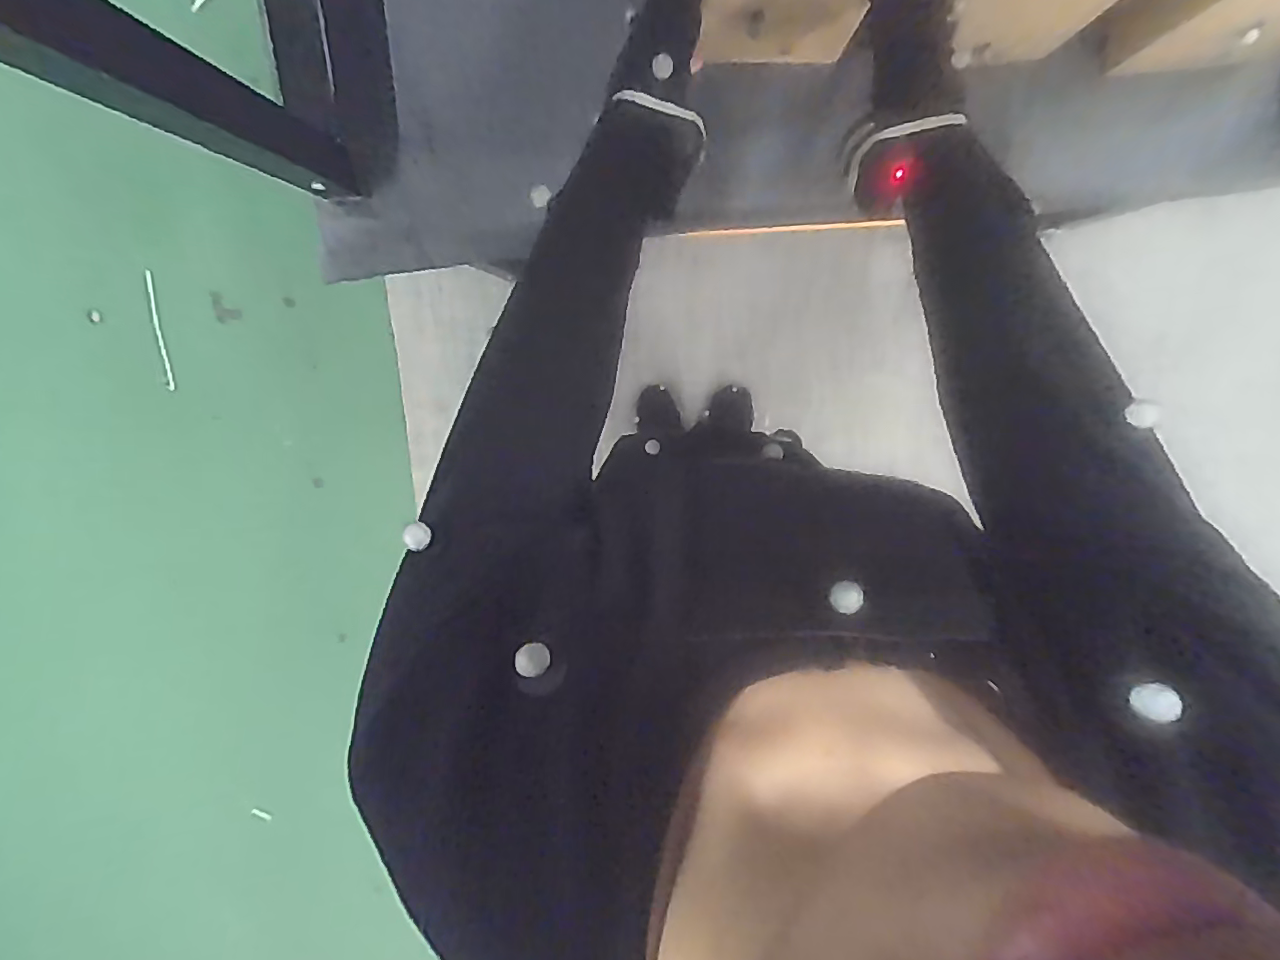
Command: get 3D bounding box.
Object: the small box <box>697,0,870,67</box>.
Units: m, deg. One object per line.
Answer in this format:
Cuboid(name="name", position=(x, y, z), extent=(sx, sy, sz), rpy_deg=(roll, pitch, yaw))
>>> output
Cuboid(name="small box", position=(0.145, -0.539, 0.529), extent=(0.168, 0.176, 0.179), rpy_deg=(3, 104, 2))
